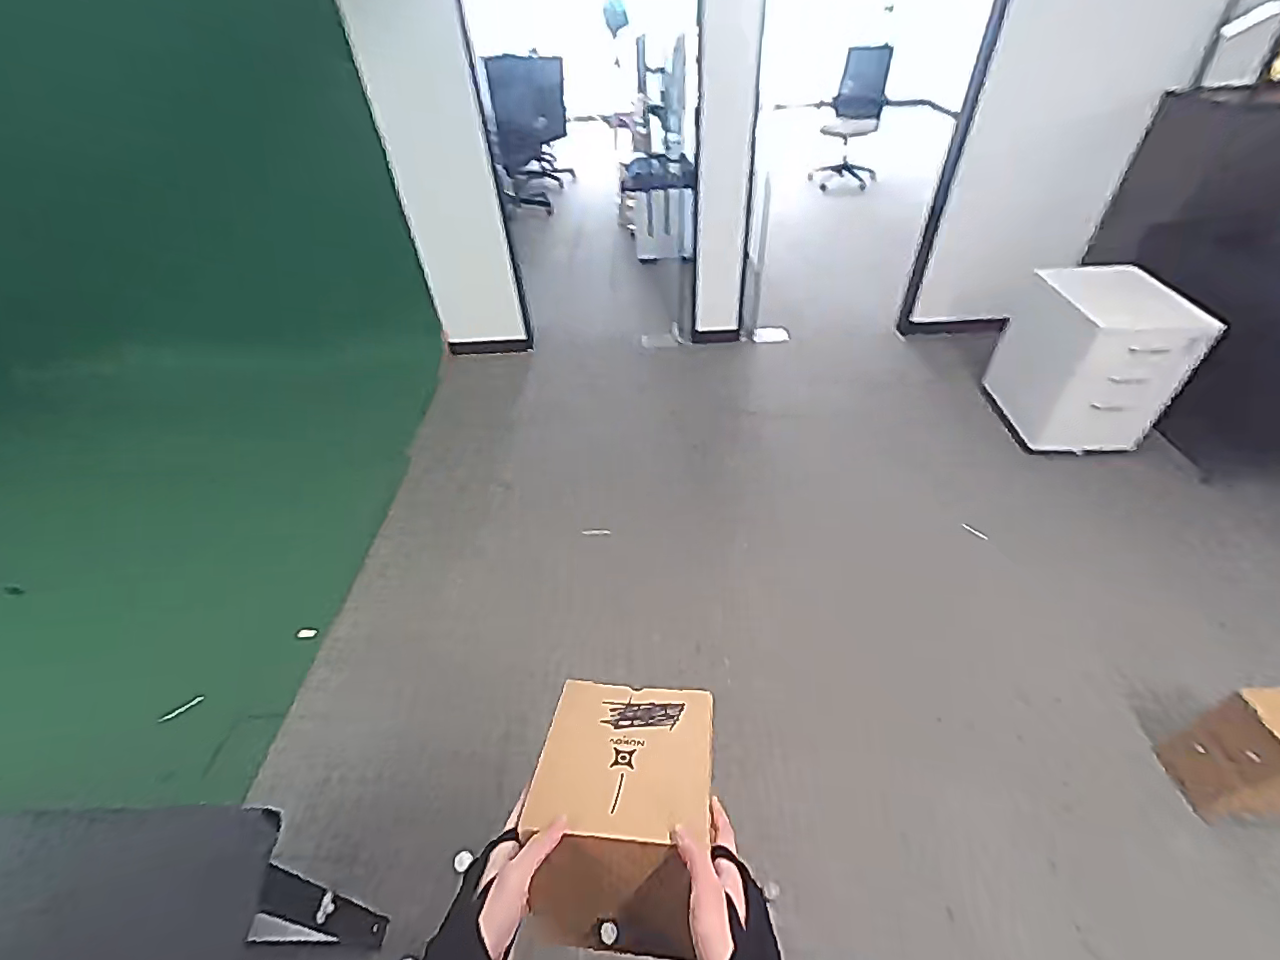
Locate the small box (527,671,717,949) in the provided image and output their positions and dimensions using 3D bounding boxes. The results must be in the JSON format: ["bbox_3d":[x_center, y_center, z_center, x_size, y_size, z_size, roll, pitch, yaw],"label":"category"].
[{"bbox_3d":[-0.008,0.334,0.568,0.168,0.176,0.179,3,25,8],"label":"small box"}]
